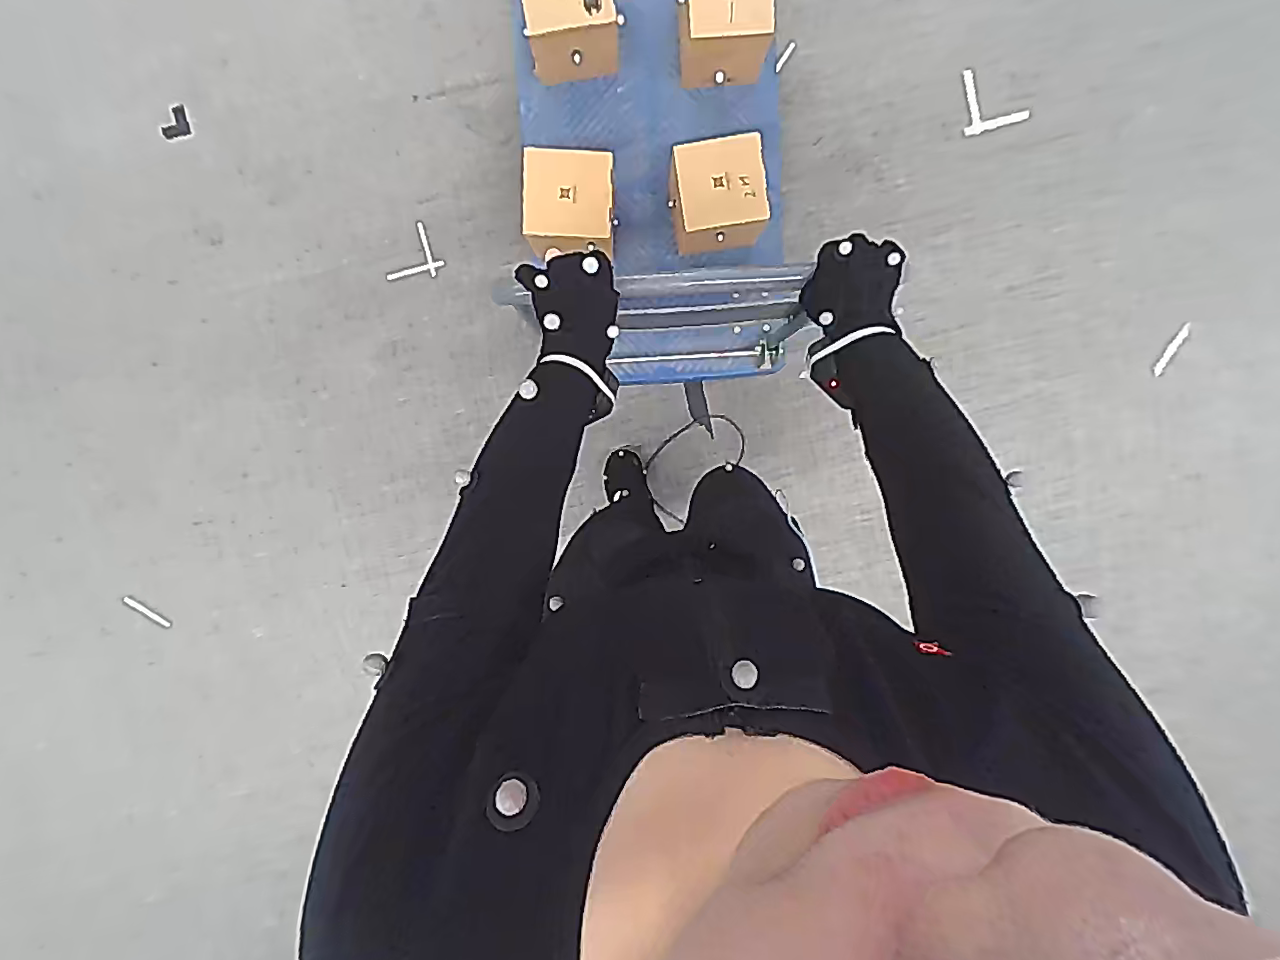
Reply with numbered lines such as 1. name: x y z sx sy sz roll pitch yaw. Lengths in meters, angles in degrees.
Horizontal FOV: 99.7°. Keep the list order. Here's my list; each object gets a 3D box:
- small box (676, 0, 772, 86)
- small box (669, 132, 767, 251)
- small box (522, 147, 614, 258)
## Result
1. small box: 0.166 -0.955 1.112 0.168 0.176 0.179 -4 98 -1
2. small box: 0.158 -0.604 1.155 0.179 0.176 0.168 -9 97 0
3. small box: -0.147 -0.581 1.152 0.179 0.176 0.168 1 97 -2
